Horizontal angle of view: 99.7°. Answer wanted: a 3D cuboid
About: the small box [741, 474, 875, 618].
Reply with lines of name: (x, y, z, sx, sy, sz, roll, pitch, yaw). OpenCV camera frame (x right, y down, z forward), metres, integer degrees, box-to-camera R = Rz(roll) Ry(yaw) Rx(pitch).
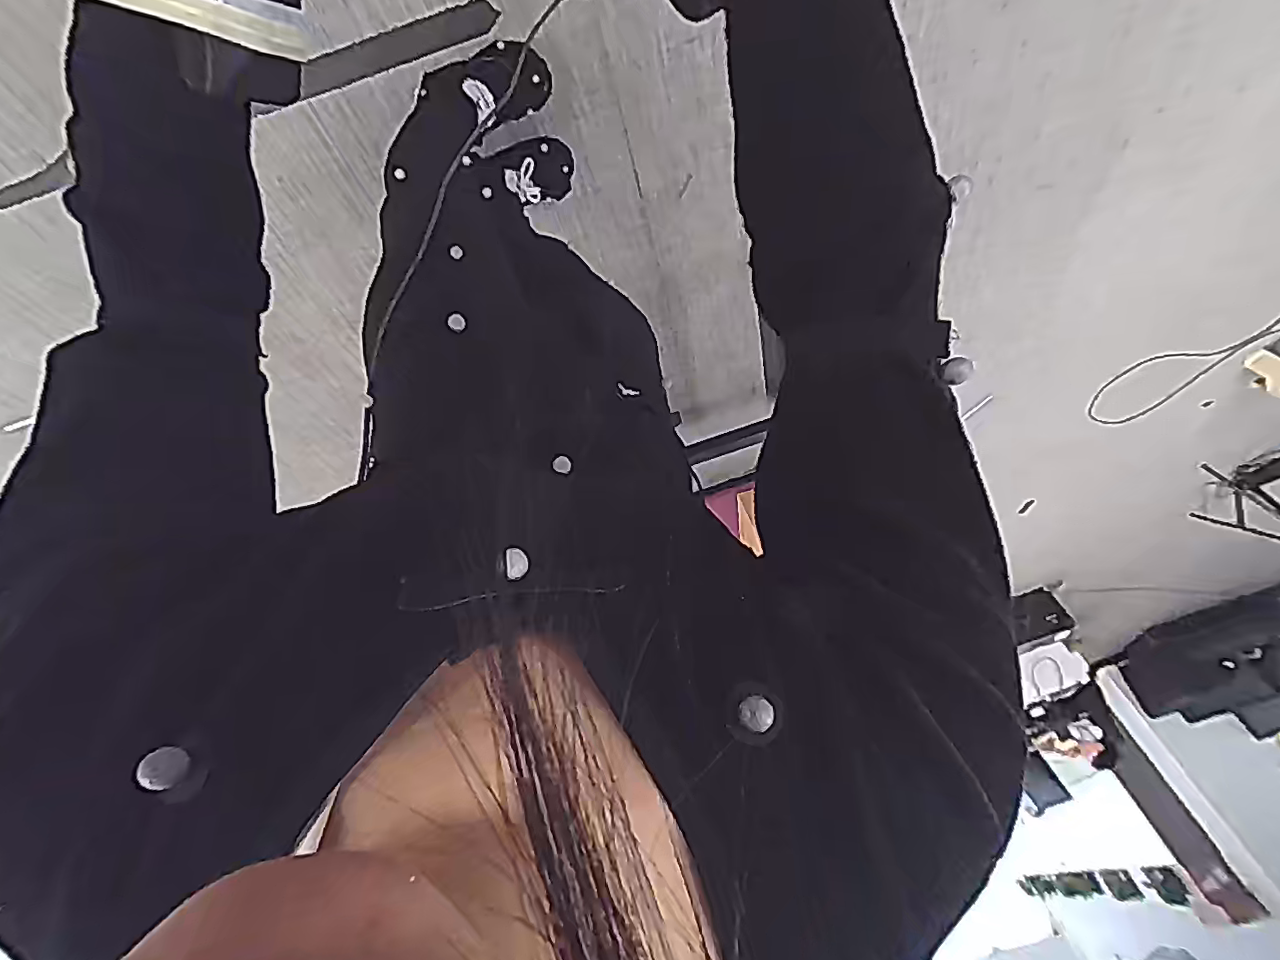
small box: (0.286, 0.116, 0.967, 0.179, 0.176, 0.168, -16, 140, -1)
